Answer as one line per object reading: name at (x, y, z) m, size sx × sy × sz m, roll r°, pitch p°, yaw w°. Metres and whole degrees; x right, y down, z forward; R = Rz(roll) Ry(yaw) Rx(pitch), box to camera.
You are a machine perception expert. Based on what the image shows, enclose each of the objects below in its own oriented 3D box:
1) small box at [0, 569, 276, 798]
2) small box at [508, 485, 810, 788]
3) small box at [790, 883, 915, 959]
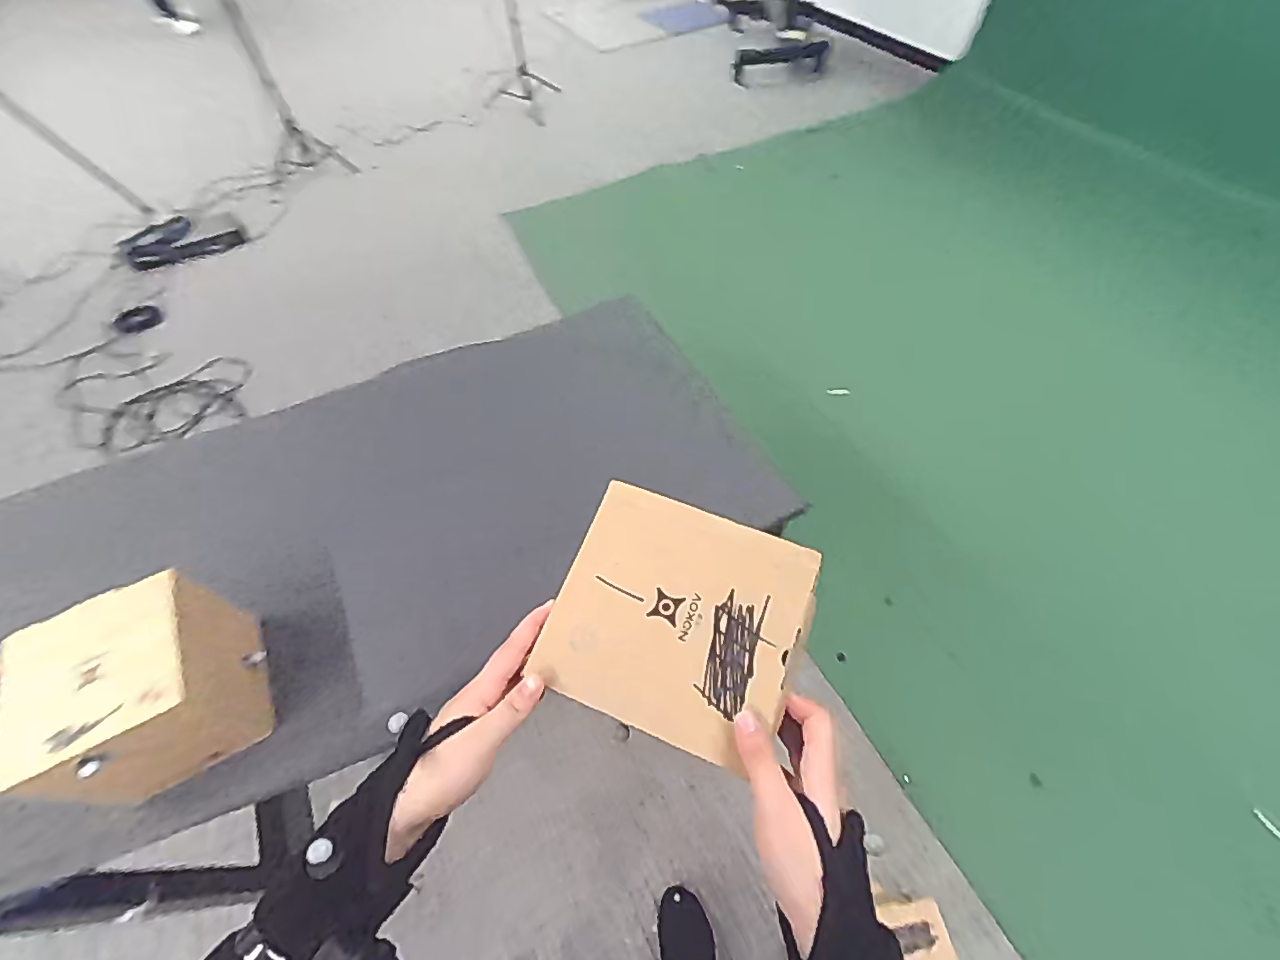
small box at (-0.568, 0.242, 0.636) m, size 0.168 × 0.176 × 0.179 m, roll -25°, pitch 58°, yaw -15°
small box at (0.021, 0.131, 0.462) m, size 0.179 × 0.176 × 0.168 m, roll 19°, pitch 69°, yaw 11°
small box at (0.408, 0.900, 1.027) m, size 0.168 × 0.176 × 0.179 m, roll -17°, pitch 57°, yaw -9°
